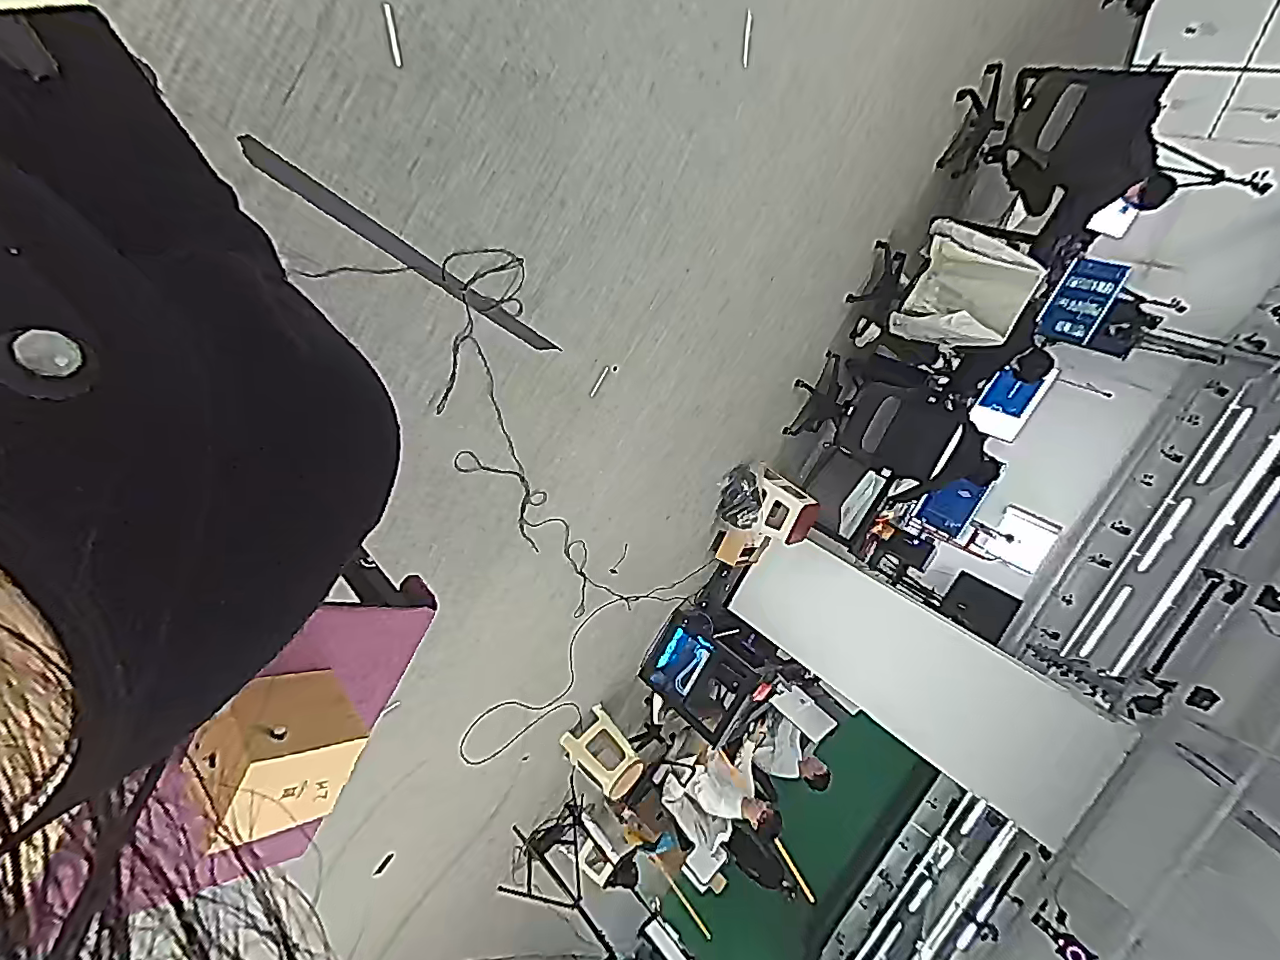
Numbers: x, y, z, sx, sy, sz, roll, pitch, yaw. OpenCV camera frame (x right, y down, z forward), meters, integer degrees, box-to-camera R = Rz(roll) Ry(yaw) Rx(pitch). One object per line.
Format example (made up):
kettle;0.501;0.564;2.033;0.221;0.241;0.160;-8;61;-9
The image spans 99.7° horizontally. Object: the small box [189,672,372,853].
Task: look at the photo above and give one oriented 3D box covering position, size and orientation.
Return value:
small box;-0.576;0.433;0.863;0.179;0.176;0.168;18;104;-56
